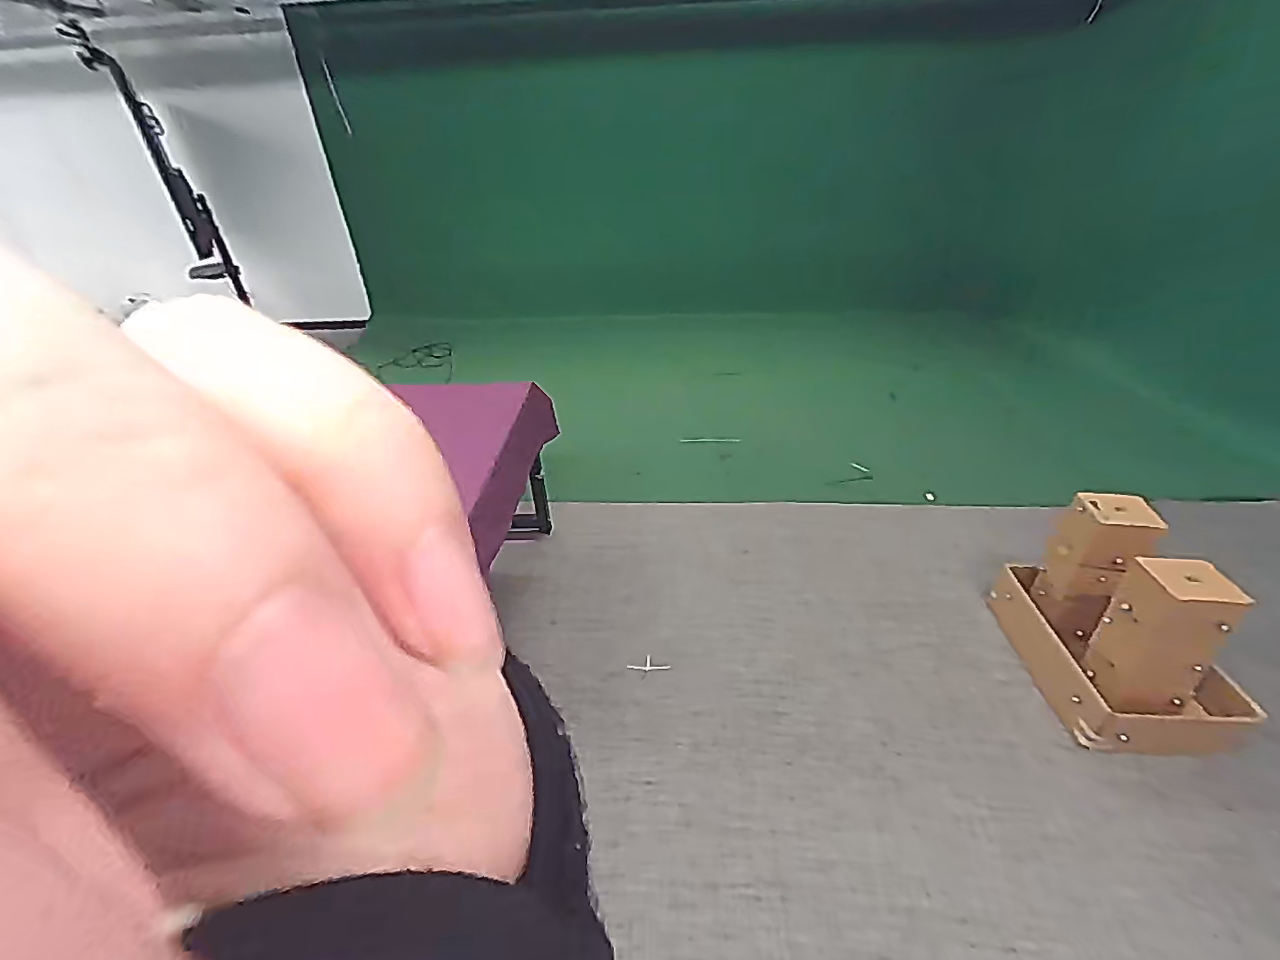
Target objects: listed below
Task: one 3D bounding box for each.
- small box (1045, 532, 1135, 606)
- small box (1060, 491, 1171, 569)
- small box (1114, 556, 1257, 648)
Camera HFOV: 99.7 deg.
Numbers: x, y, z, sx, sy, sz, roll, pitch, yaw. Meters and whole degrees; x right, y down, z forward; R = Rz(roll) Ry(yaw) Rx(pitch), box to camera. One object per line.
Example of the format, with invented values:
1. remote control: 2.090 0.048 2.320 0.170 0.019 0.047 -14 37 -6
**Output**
1. small box: 1.460 0.289 1.759 0.179 0.176 0.168 5 34 10
2. small box: 1.450 0.155 1.663 0.179 0.176 0.168 5 33 11
3. small box: 1.413 0.319 1.417 0.179 0.176 0.168 2 32 7
